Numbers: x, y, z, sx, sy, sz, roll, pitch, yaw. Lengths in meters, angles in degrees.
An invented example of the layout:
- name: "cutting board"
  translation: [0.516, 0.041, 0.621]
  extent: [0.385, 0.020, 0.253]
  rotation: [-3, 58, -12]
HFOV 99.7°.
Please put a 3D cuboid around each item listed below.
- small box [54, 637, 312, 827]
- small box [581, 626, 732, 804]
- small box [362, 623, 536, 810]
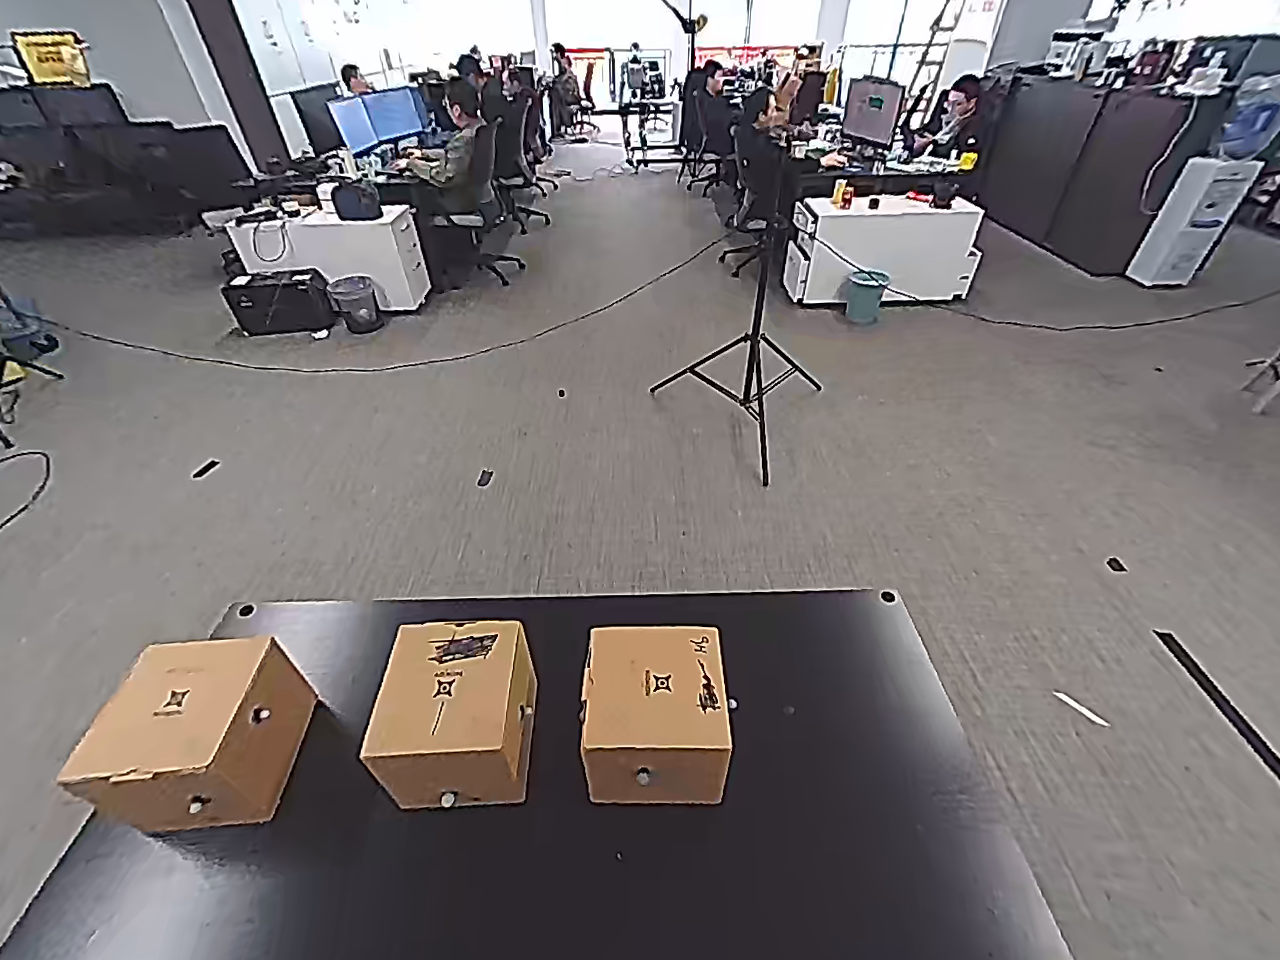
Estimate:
- name: "small box"
  translation: [-0.569, 0.334, 0.711]
  extent: [0.168, 0.176, 0.179]
  rotation: [-3, 40, -4]
- name: "small box"
  translation: [0.023, 0.314, 0.723]
  extent: [0.179, 0.176, 0.168]
  rotation: [-1, 40, 1]
- name: "small box"
  translation: [-0.237, 0.315, 0.727]
  extent: [0.168, 0.176, 0.179]
  rotation: [-2, 41, -2]
